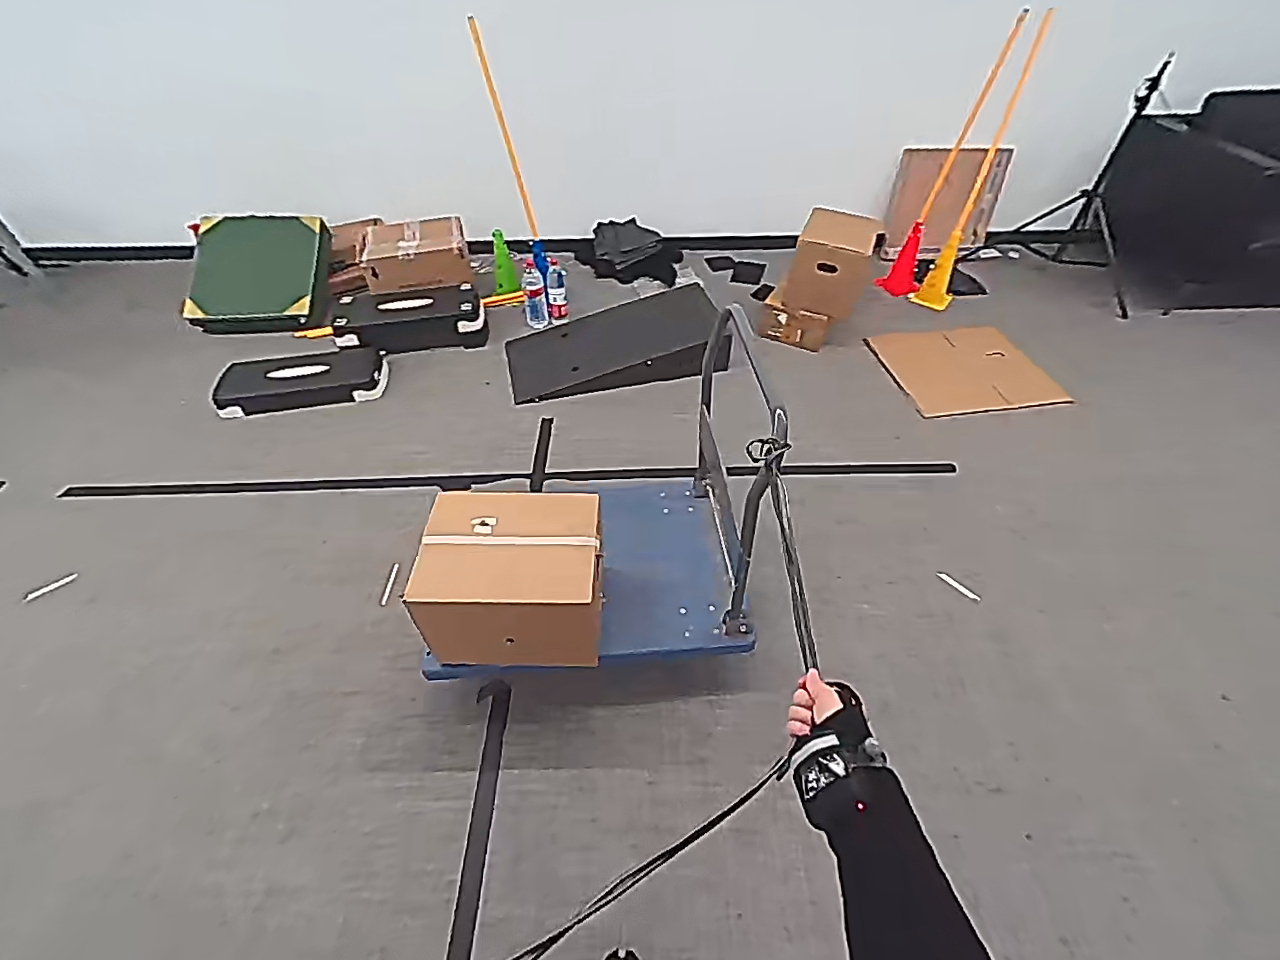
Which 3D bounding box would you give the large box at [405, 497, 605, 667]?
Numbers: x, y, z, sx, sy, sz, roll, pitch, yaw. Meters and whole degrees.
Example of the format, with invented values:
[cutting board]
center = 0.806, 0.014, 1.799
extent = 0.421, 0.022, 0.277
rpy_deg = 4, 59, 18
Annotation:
[large box]
center = -0.295, 0.256, 1.343
extent = 0.408, 0.320, 0.320
rpy_deg = 0, 46, 0
